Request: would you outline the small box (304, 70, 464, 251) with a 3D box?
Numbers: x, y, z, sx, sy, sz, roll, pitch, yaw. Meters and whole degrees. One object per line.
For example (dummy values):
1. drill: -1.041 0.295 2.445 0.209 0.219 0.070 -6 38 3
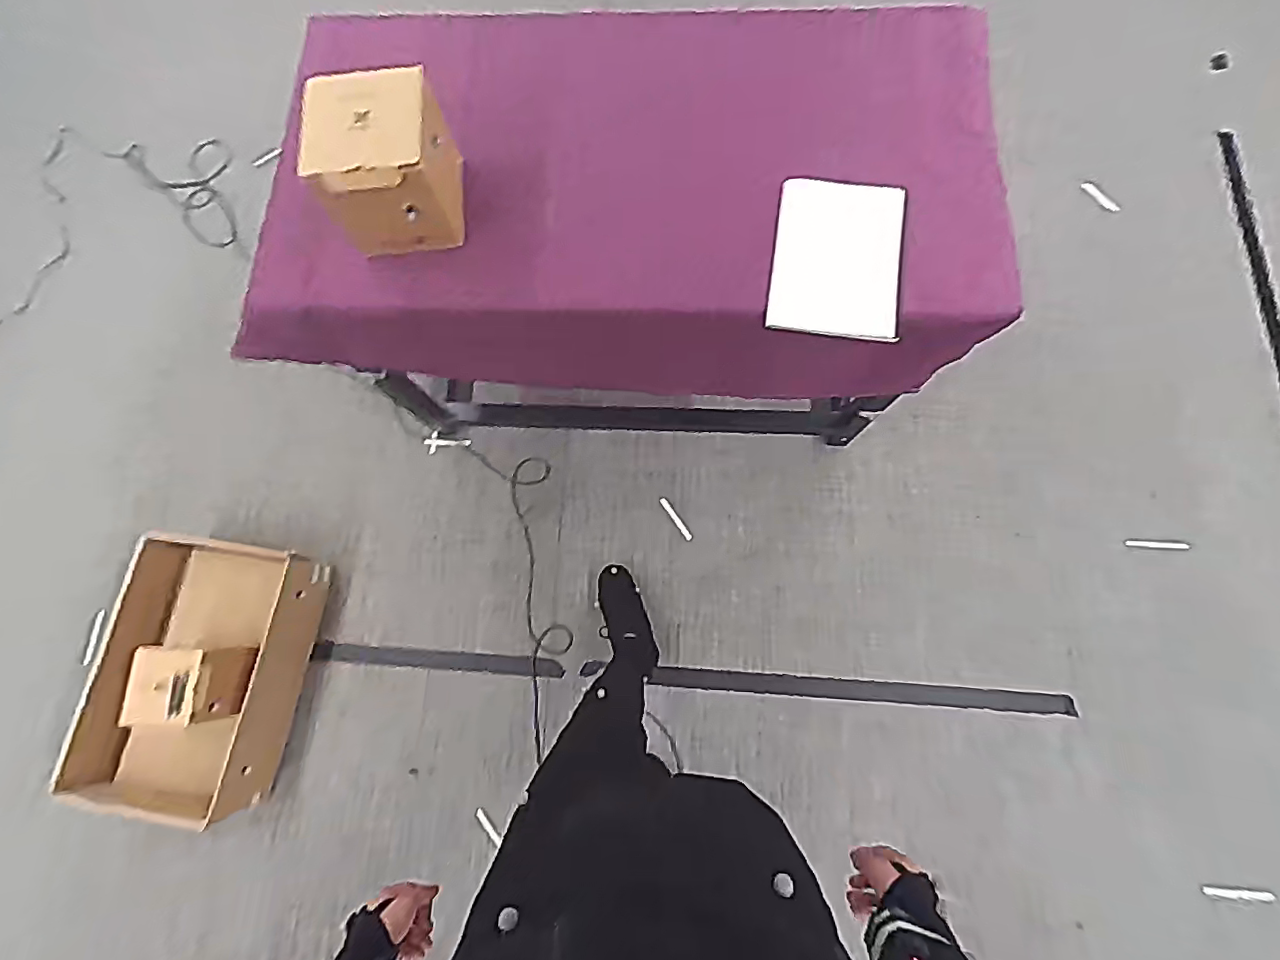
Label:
1. small box: -0.377 -0.473 0.826 0.168 0.176 0.179 -5 76 1
